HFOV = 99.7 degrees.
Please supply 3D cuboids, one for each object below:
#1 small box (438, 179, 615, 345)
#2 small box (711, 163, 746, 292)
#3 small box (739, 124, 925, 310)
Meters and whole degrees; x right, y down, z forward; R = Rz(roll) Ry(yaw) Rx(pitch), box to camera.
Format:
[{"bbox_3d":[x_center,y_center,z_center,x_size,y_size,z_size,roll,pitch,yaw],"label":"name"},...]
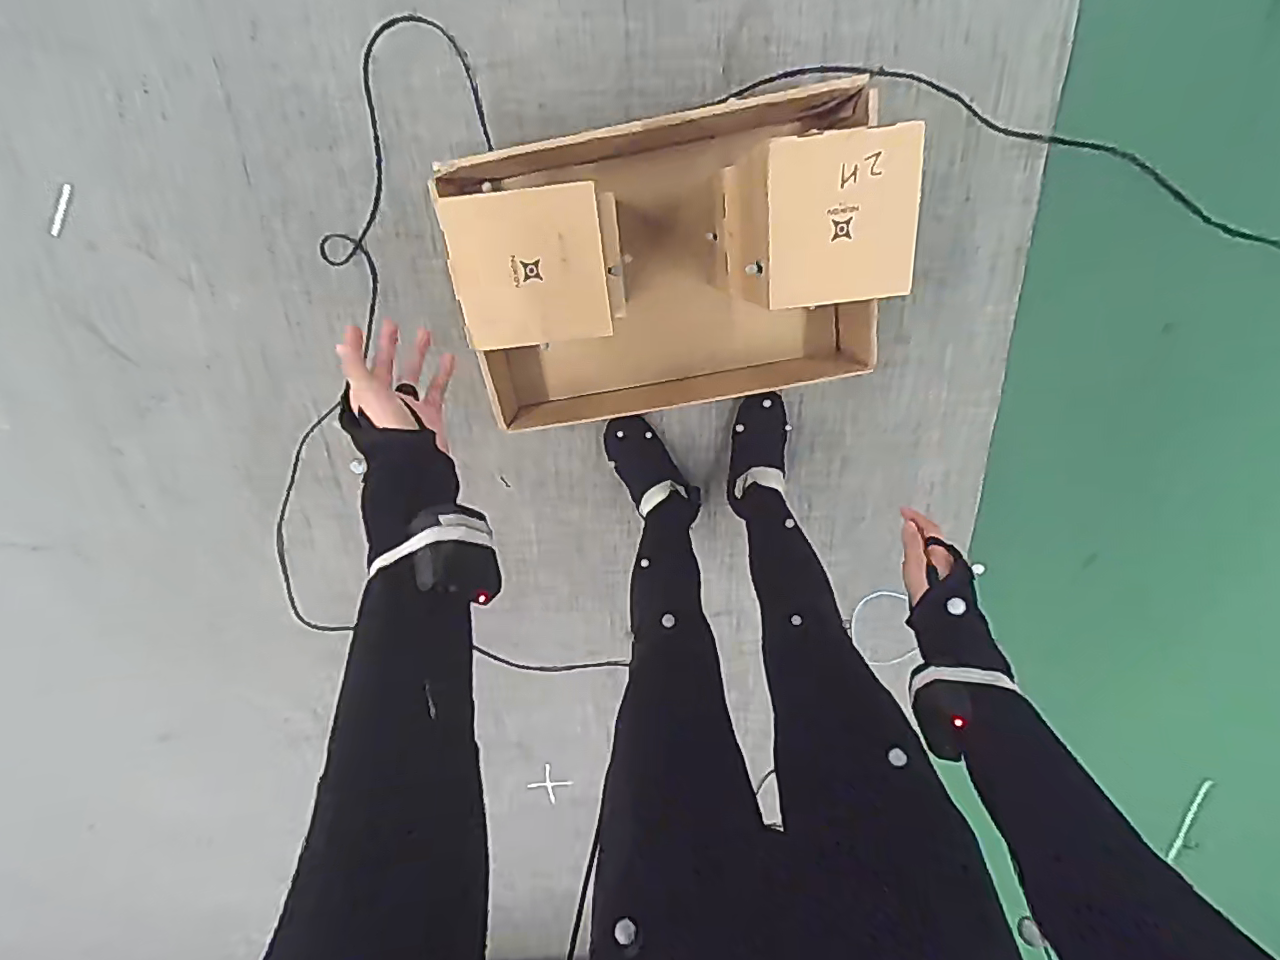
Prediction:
[{"bbox_3d":[-0.127,-0.272,0.681,0.179,0.176,0.168,-5,115,1],"label":"small box"},{"bbox_3d":[0.202,-0.381,0.819,0.179,0.176,0.168,-5,113,2],"label":"small box"},{"bbox_3d":[0.220,-0.316,0.668,0.168,0.176,0.179,-6,113,0],"label":"small box"}]
